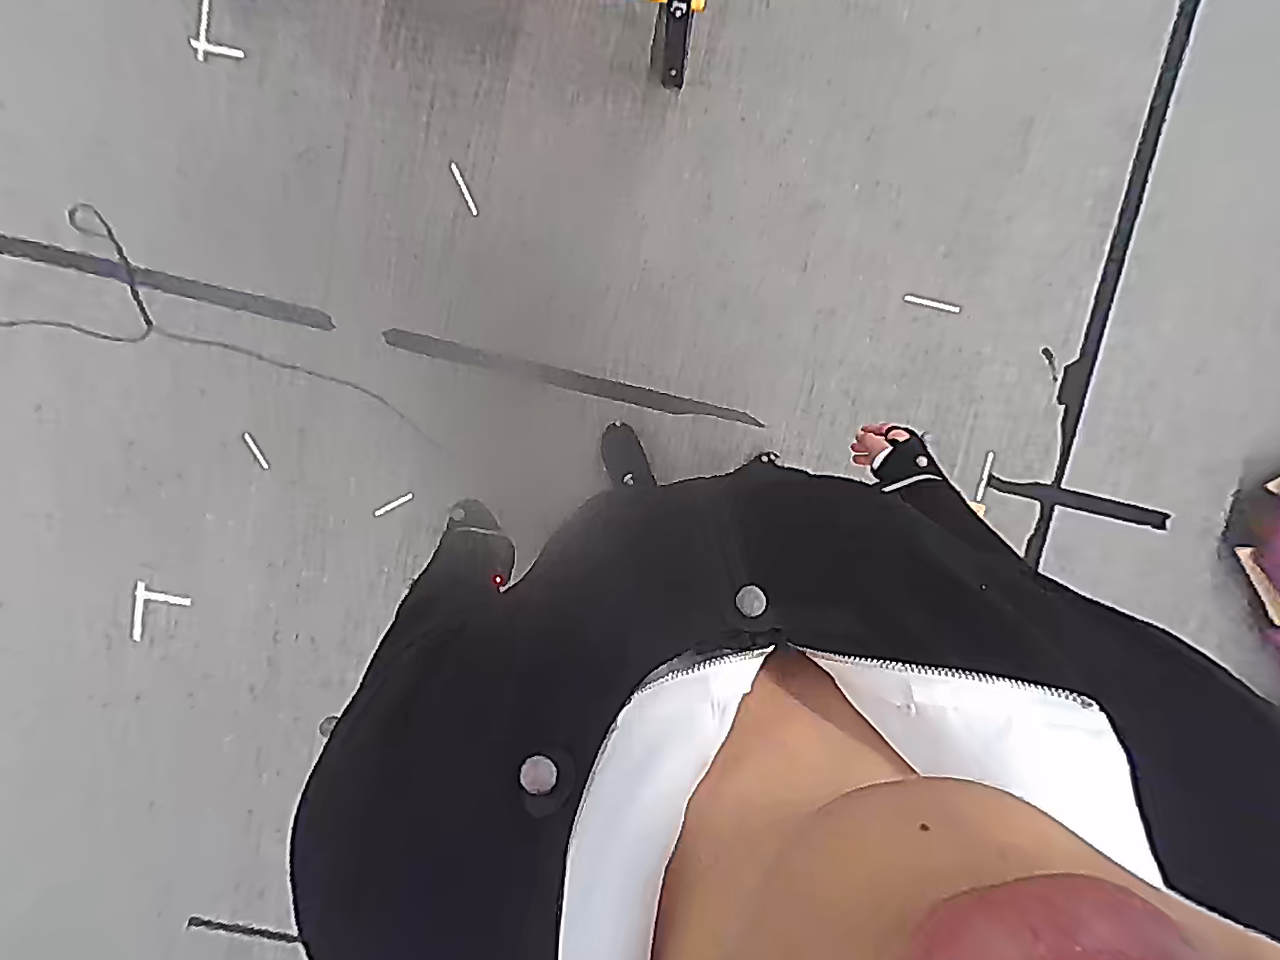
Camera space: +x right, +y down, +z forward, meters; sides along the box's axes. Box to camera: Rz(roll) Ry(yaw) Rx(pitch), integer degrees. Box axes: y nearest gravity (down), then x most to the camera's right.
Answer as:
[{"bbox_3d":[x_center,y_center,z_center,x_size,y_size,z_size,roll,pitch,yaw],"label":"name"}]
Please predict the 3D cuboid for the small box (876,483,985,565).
[{"bbox_3d":[0.752,0.108,1.423,0.179,0.176,0.168,14,96,-1],"label":"small box"}]
